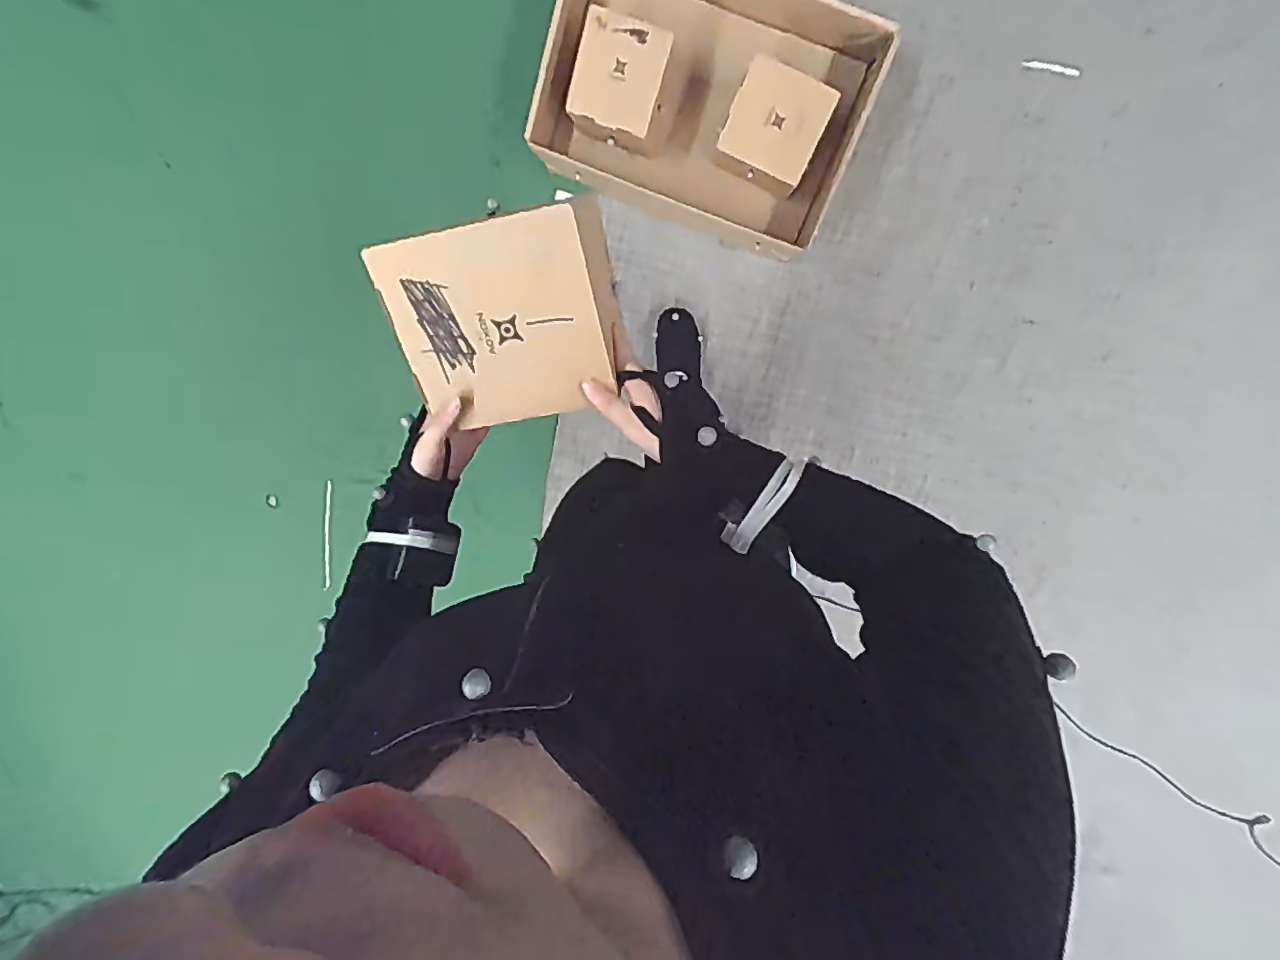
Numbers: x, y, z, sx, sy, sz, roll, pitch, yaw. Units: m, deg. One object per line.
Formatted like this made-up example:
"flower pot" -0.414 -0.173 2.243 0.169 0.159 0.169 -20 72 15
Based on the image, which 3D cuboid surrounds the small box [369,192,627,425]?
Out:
"small box" -0.115 -0.171 0.524 0.179 0.176 0.168 -9 120 6
